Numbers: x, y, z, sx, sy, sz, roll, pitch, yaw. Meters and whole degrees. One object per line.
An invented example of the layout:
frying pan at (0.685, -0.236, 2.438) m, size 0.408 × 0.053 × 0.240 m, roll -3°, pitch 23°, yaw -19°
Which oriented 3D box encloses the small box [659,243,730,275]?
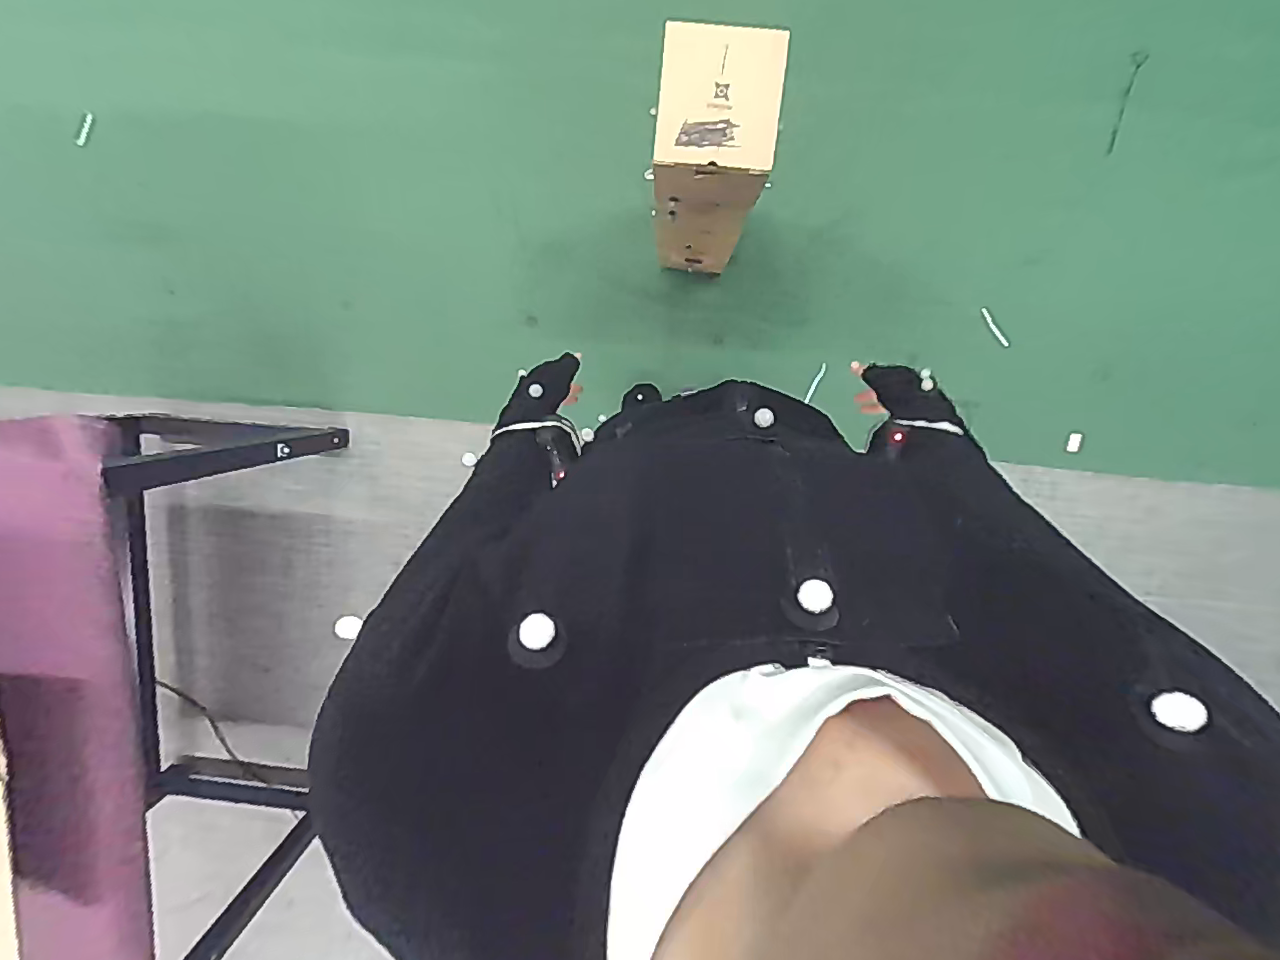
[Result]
small box at (0.137, -0.607, 1.294) m, size 0.168 × 0.176 × 0.179 m, roll 7°, pitch 100°, yaw 2°

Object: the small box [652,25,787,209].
small box at (0.110, -0.525, 0.809) m, size 0.168 × 0.176 × 0.179 m, roll 6°, pitch 99°, yaw 1°

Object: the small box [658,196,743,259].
small box at (0.127, -0.581, 1.133) m, size 0.168 × 0.176 × 0.179 m, roll 6°, pitch 100°, yaw 2°
